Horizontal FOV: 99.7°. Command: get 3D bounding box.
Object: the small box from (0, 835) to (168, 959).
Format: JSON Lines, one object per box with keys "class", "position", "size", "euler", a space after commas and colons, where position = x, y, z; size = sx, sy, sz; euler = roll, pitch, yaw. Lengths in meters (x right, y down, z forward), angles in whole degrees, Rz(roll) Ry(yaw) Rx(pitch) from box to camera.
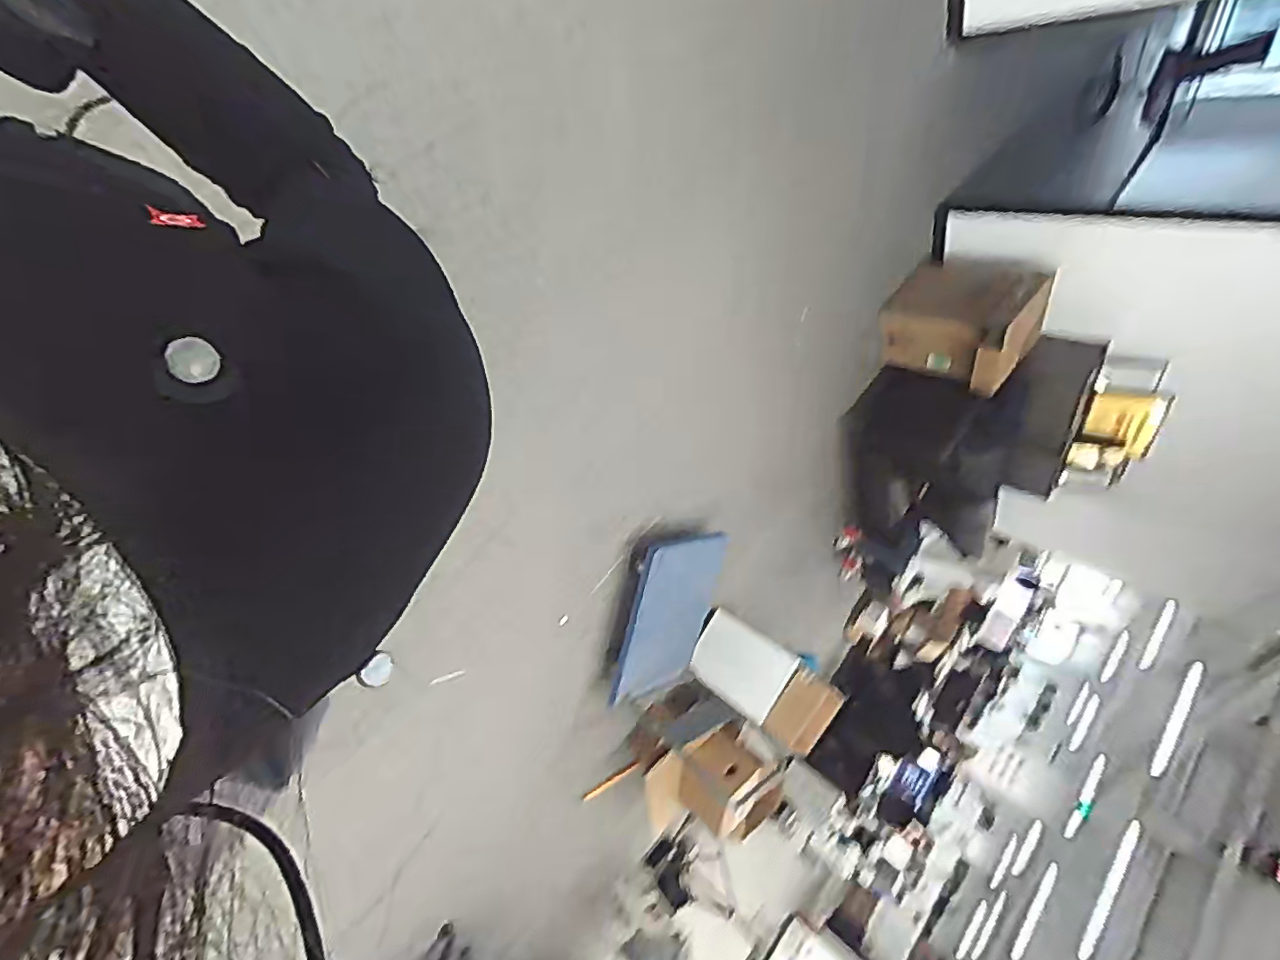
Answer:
{"class": "small box", "position": [-0.731, 0.567, 0.647], "size": [0.168, 0.176, 0.179], "euler": [-46, 139, -20]}
